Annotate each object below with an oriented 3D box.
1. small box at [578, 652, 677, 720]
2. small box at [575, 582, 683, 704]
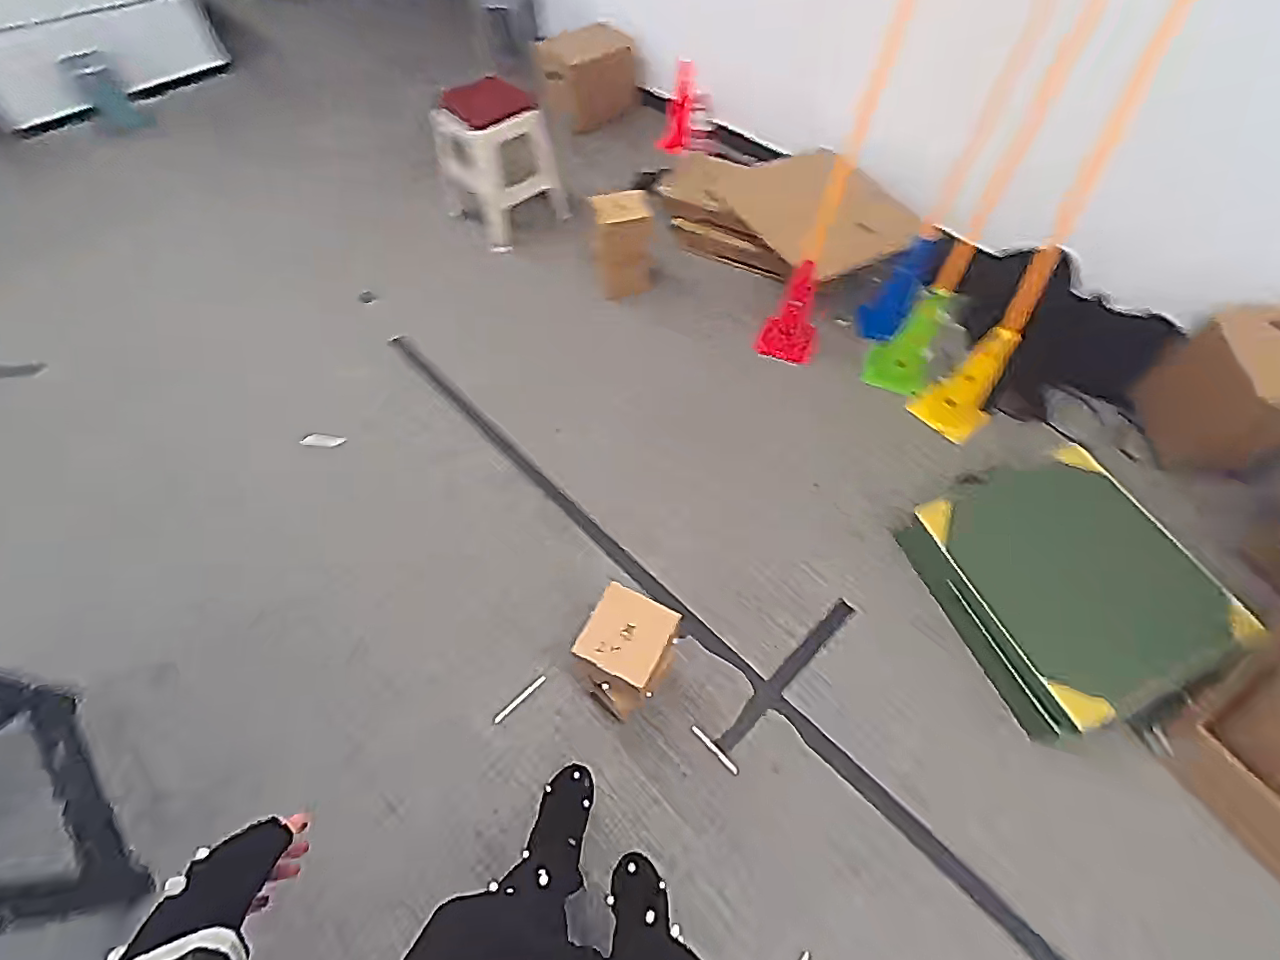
[{"bbox_3d":[-0.026,0.457,1.320,0.179,0.176,0.168,-40,66,-22],"label":"small box"},{"bbox_3d":[-0.021,0.361,1.185,0.168,0.176,0.179,28,64,18],"label":"small box"}]
